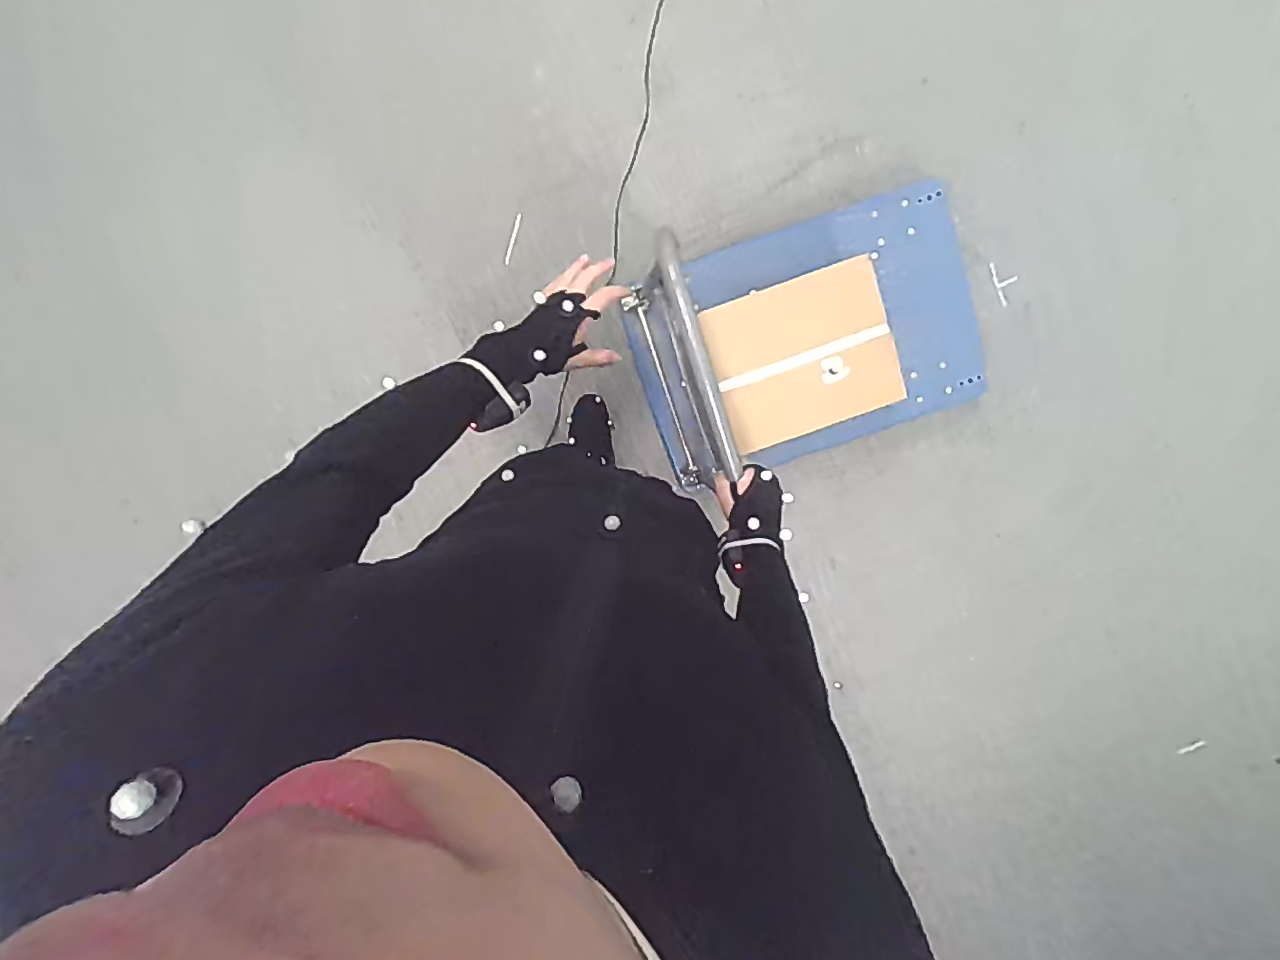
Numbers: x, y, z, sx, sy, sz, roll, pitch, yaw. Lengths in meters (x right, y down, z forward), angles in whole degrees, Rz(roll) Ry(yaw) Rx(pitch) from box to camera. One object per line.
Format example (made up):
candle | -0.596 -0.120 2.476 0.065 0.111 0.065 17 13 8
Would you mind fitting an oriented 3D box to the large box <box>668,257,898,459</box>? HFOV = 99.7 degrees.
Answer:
large box | 0.312 -0.272 1.284 0.408 0.320 0.320 -20 100 1
